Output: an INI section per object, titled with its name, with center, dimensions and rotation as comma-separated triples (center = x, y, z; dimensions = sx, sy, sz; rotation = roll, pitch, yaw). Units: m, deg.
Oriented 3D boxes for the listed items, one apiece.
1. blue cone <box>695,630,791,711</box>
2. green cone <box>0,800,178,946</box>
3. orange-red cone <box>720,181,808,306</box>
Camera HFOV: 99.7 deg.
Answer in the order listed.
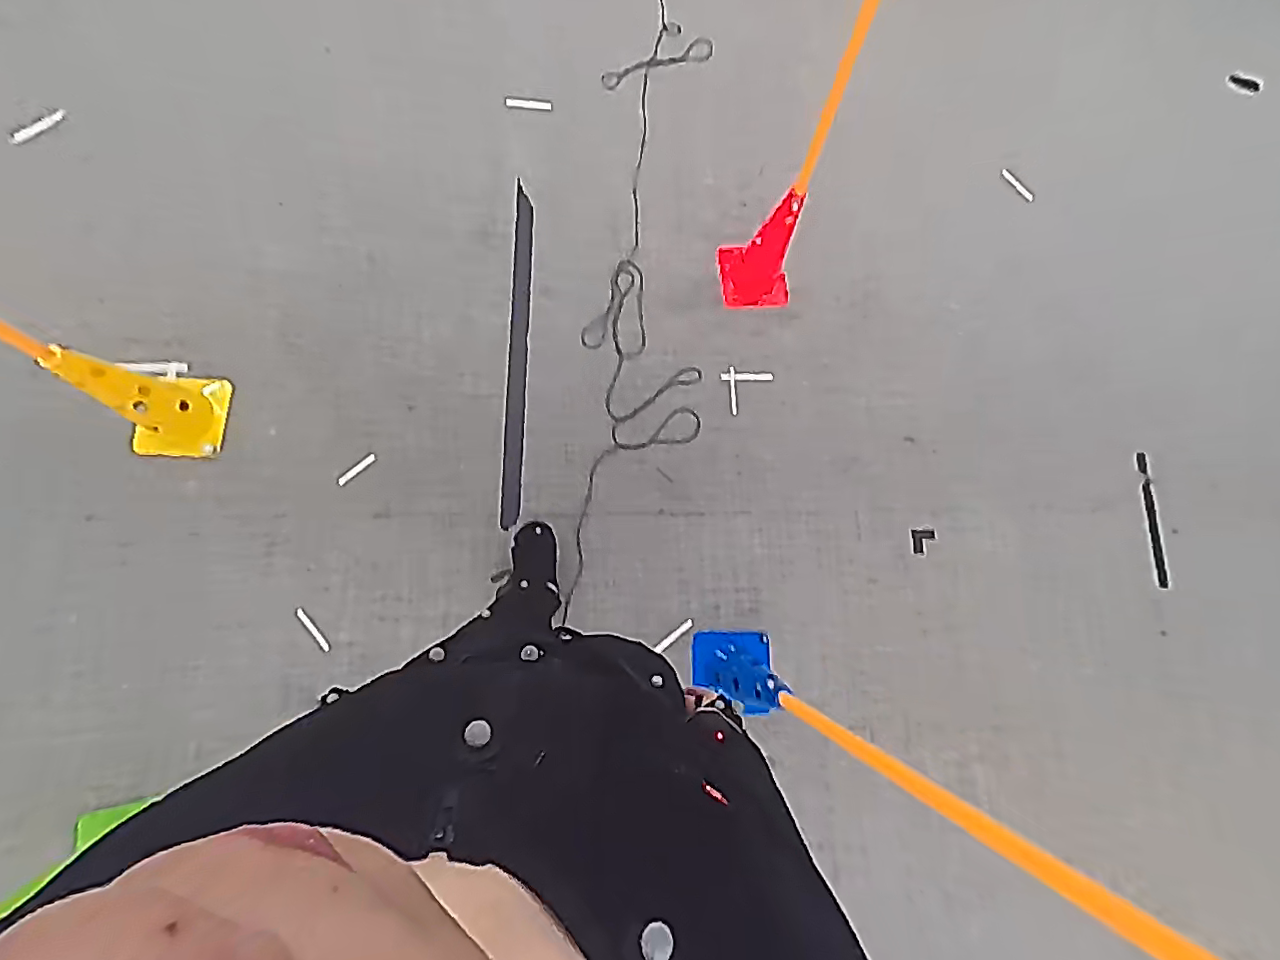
[blue cone]
center = 0.250, 0.439, 1.194
dimensions = 0.193, 0.380, 0.192
rotation = 4, 77, -6
[green cone]
center = -1.059, 0.755, 0.967
dimensions = 0.200, 0.368, 0.202
rotation = -10, 77, -9
[orange-red cone]
center = 0.356, -0.641, 1.429
dimensions = 0.199, 0.360, 0.198
rotation = -4, 78, -6
